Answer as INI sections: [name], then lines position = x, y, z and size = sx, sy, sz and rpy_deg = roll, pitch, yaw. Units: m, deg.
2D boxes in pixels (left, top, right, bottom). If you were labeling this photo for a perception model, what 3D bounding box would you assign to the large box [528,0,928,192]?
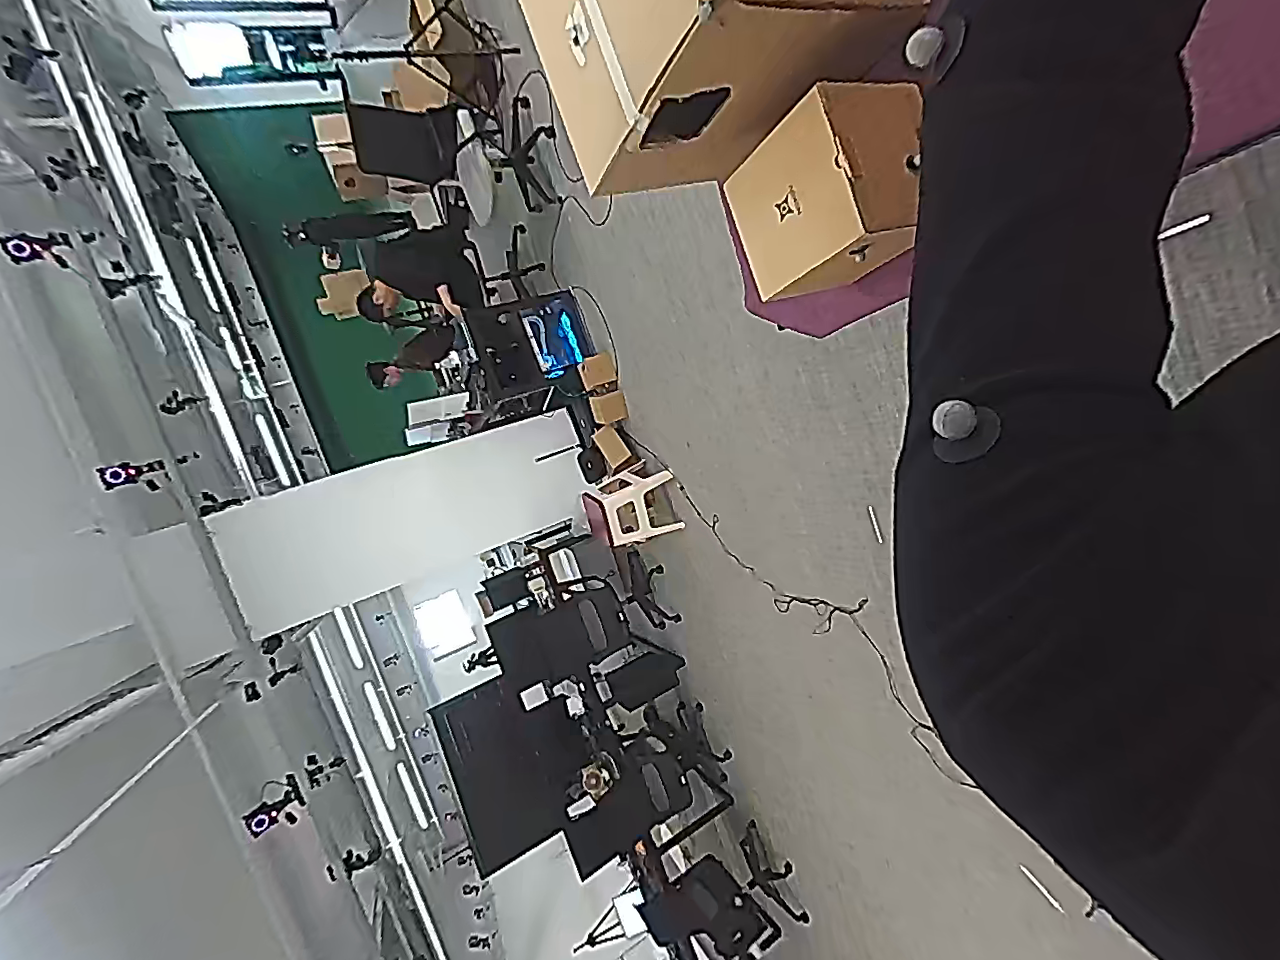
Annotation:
[large box]
position = 0.065, -0.643, 0.650
size = 0.320, 0.320, 0.408
rpy_deg = -12, 101, 66
